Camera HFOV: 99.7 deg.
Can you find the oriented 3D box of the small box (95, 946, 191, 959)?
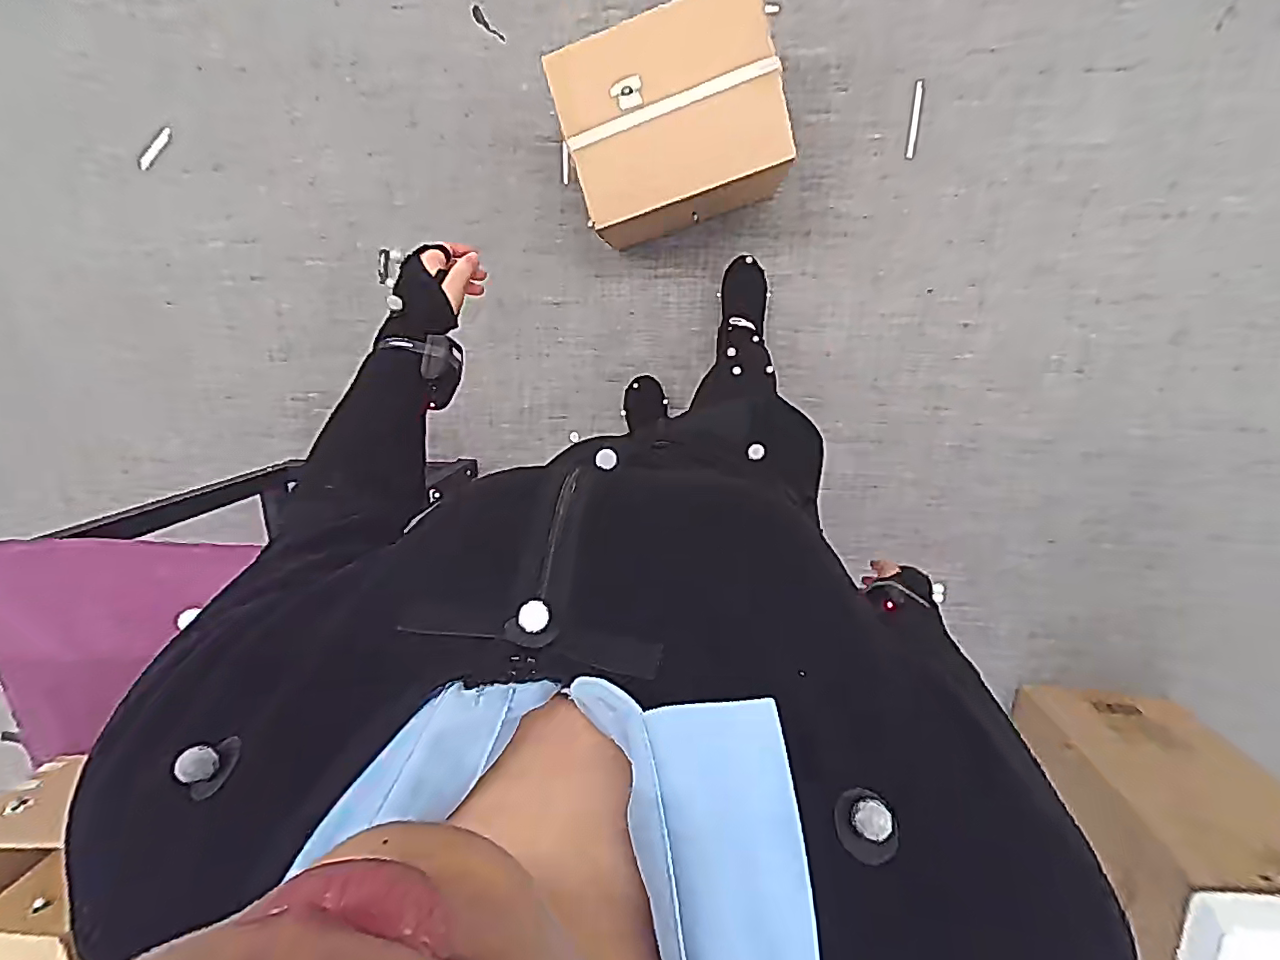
[{"bbox_3d":[-0.703,0.775,0.717,0.168,0.176,0.179,-9,103,10],"label":"small box"}]

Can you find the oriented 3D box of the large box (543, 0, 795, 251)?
[{"bbox_3d":[0.070,-0.719,1.135,0.408,0.320,0.320,-16,103,11],"label":"large box"}]
